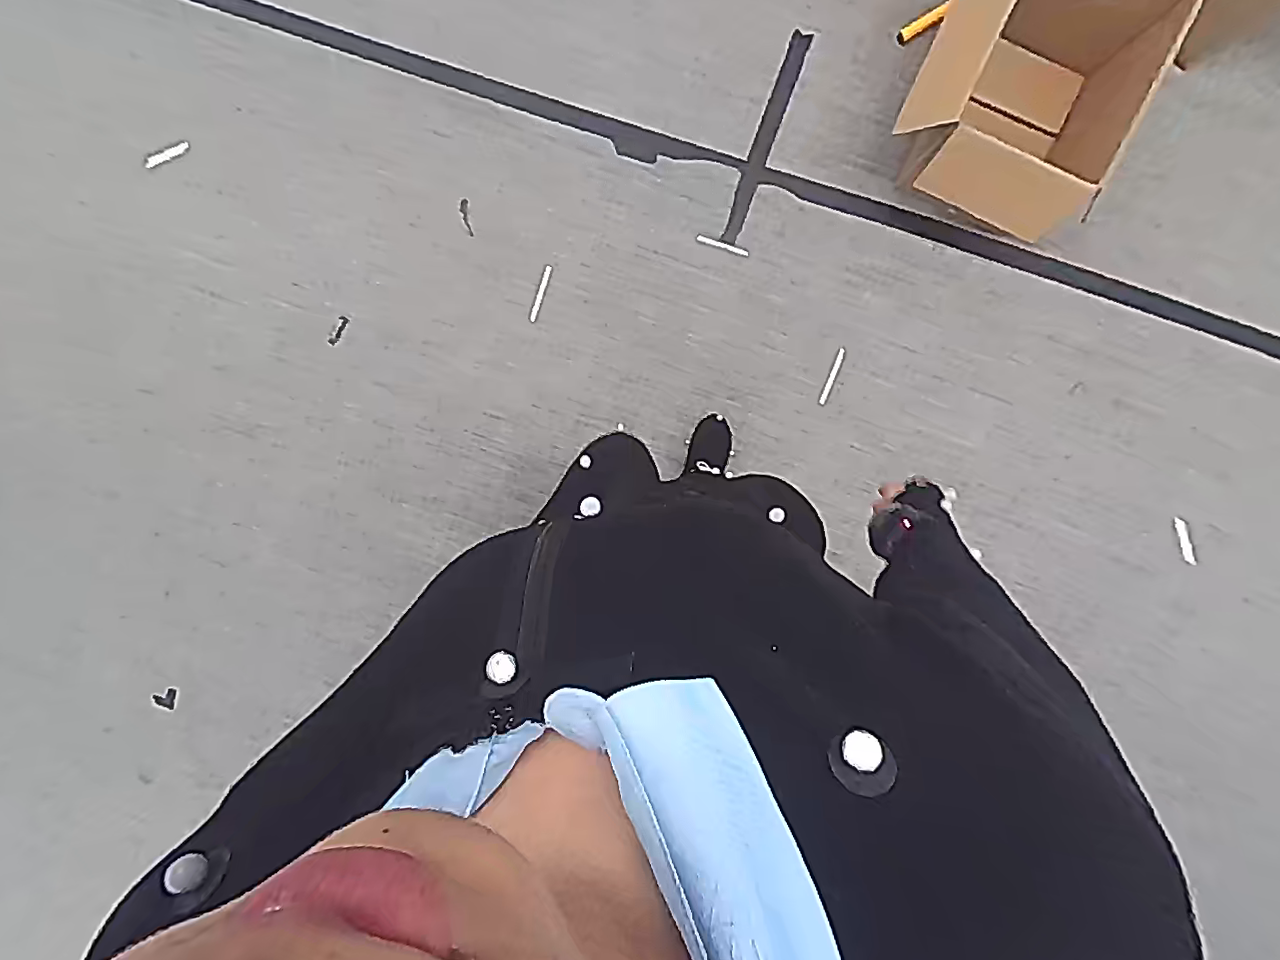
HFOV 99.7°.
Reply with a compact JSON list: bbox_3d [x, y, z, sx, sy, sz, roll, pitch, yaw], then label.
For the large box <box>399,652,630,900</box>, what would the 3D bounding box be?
[{"bbox_3d":[-0.264,0.656,1.258,0.408,0.320,0.320,19,96,2],"label":"large box"}]
